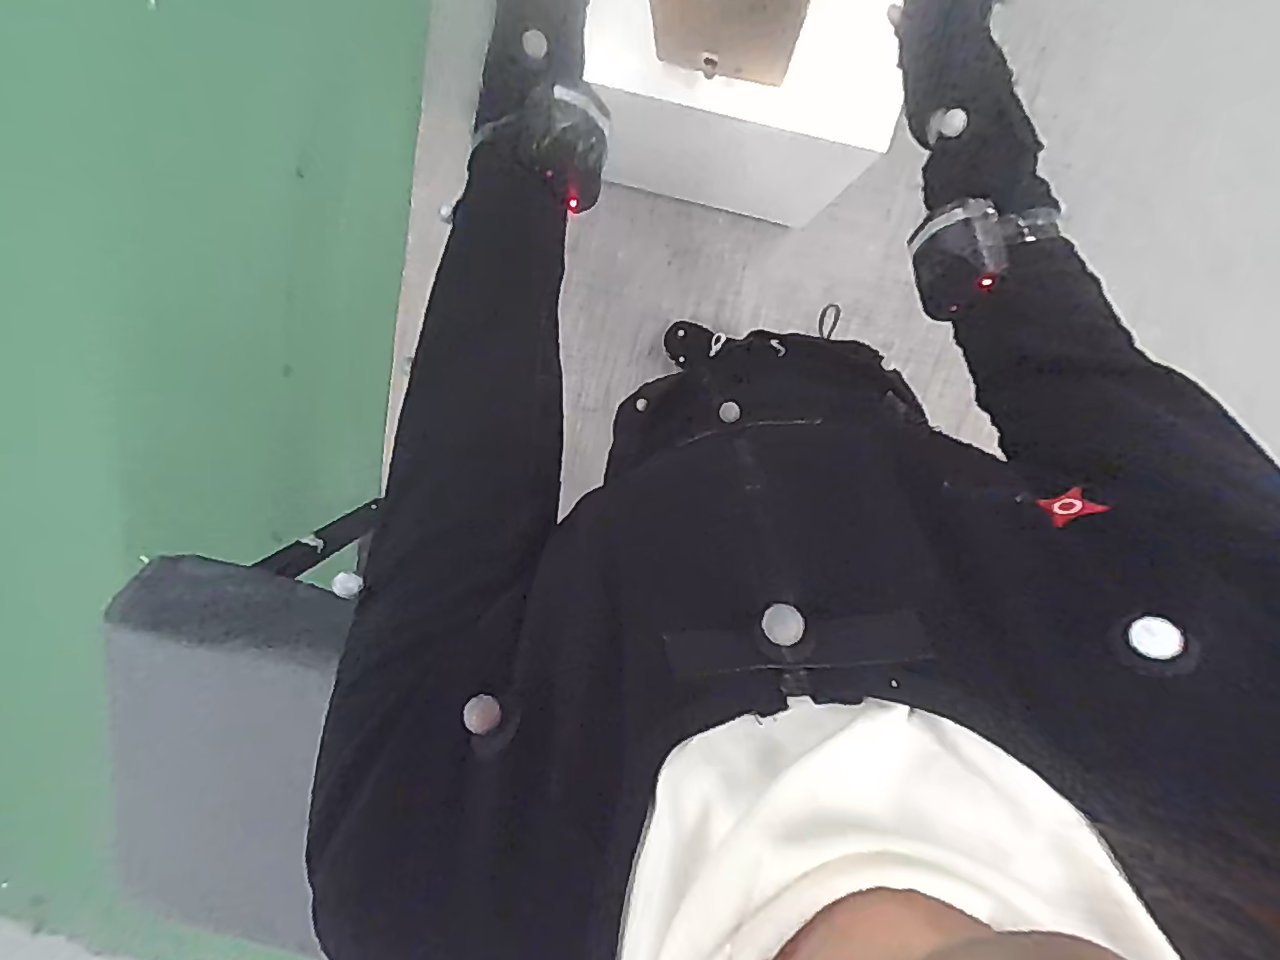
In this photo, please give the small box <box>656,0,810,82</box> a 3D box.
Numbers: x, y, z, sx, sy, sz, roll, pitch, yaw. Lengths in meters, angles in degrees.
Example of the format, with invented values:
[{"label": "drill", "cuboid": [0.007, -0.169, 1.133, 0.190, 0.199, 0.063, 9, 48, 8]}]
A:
[{"label": "small box", "cuboid": [0.111, -0.575, 0.581, 0.168, 0.176, 0.179, 13, 108, 4]}]
